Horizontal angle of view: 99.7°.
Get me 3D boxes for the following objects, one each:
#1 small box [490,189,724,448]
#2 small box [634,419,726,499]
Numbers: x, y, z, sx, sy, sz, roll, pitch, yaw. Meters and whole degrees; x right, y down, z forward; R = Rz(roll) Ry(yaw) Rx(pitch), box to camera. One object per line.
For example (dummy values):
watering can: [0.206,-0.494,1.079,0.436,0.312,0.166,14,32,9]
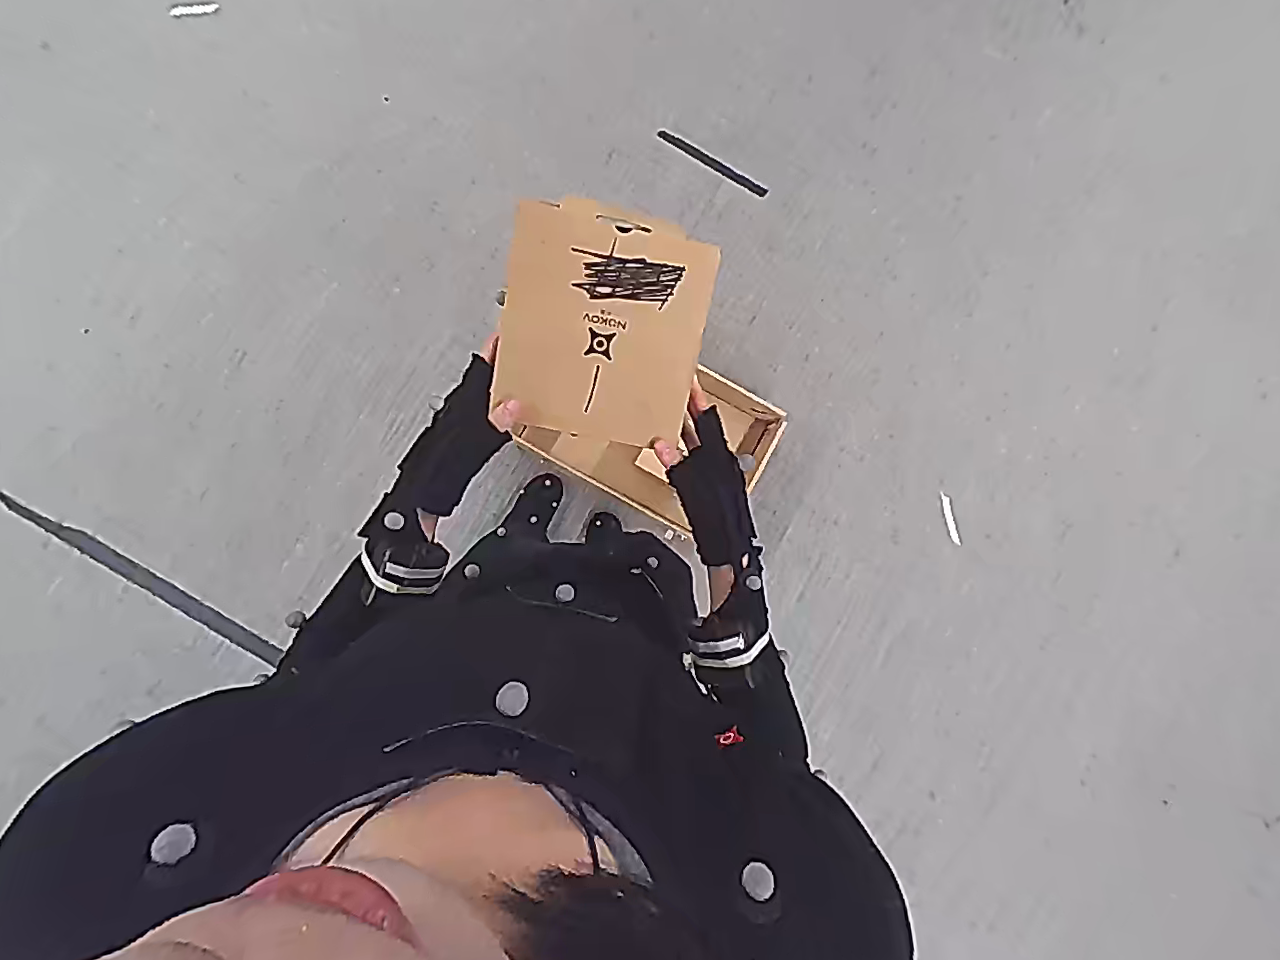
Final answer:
small box: [-0.037,-0.142,0.516,0.168,0.176,0.179,10,102,-9]
small box: [0.098,-0.060,1.416,0.179,0.176,0.168,29,85,0]
